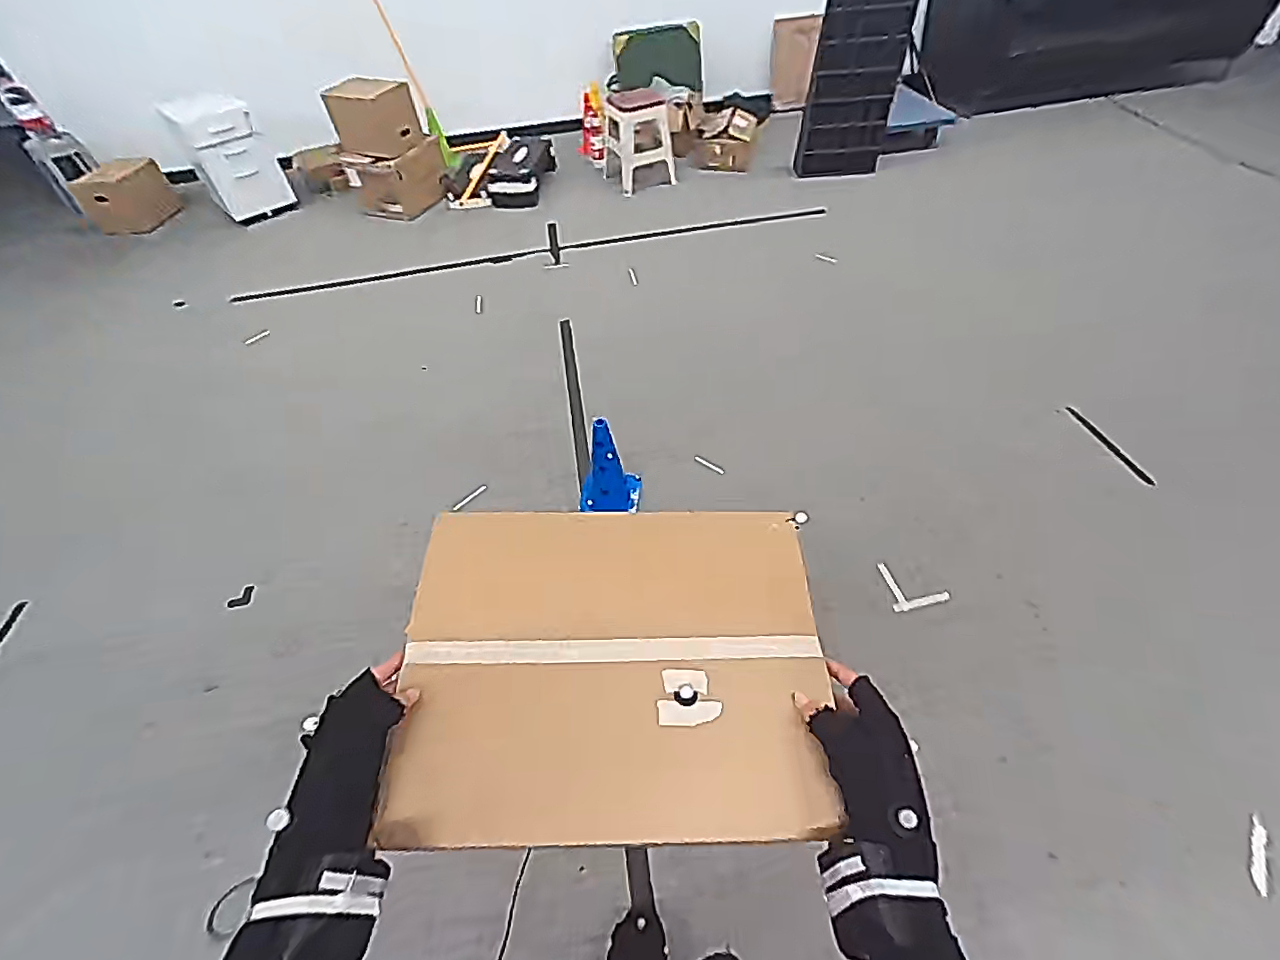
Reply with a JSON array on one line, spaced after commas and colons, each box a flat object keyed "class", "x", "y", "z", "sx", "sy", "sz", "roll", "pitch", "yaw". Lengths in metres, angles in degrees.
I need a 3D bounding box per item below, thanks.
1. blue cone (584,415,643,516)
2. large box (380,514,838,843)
[{"class": "blue cone", "x": -0.101, "y": -0.058, "z": 1.780, "sx": 0.193, "sy": 0.380, "sz": 0.192, "roll": 7, "pitch": 50, "yaw": 10}, {"class": "large box", "x": -0.033, "y": 0.253, "z": 0.667, "sx": 0.408, "sy": 0.320, "sz": 0.320, "roll": 0, "pitch": 56, "yaw": -2}]
